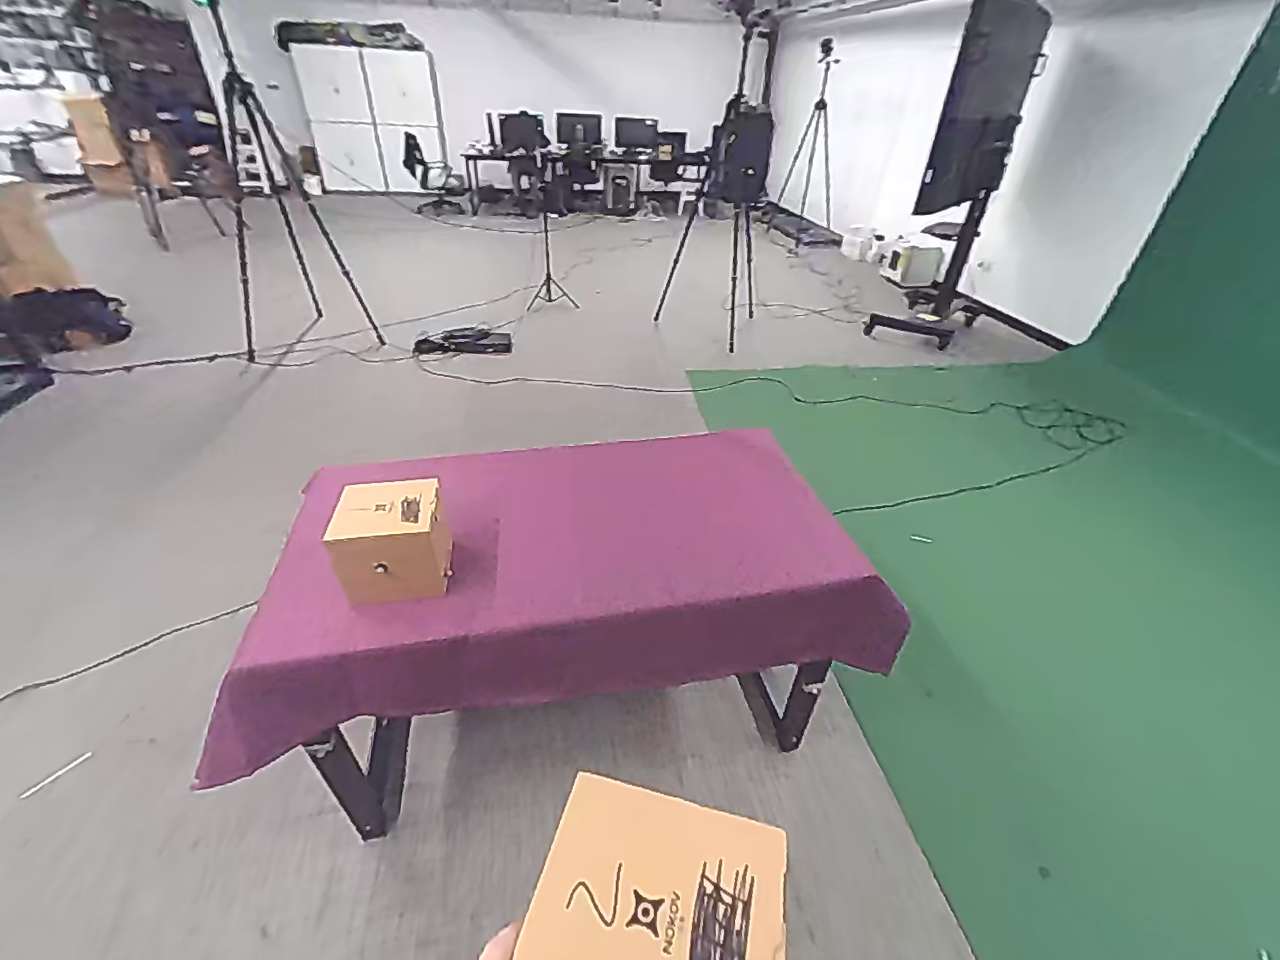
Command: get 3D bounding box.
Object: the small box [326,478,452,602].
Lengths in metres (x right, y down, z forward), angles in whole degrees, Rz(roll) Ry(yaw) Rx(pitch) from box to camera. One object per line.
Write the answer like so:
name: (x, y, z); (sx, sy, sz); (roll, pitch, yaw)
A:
small box: (-0.468, 0.115, 1.042); (0.179, 0.176, 0.168); (-5, 36, -10)
